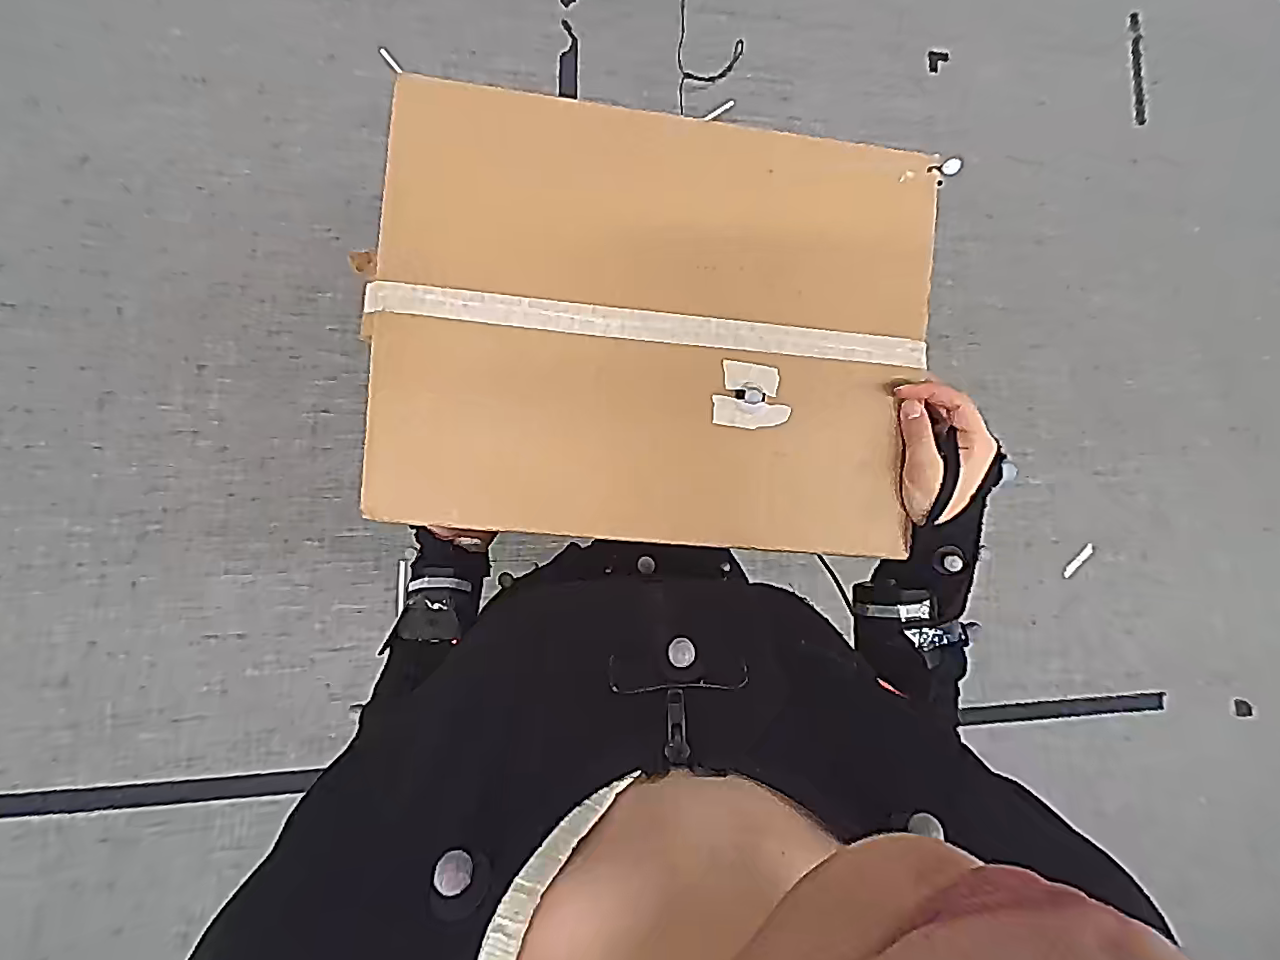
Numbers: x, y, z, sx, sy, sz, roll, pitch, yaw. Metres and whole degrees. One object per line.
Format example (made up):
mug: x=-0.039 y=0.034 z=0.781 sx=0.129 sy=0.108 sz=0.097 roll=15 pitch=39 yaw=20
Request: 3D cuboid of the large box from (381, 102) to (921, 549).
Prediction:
large box: x=0.001 y=-0.107 z=0.552 sx=0.408 sy=0.320 sz=0.320 roll=4 pitch=90 yaw=-7
